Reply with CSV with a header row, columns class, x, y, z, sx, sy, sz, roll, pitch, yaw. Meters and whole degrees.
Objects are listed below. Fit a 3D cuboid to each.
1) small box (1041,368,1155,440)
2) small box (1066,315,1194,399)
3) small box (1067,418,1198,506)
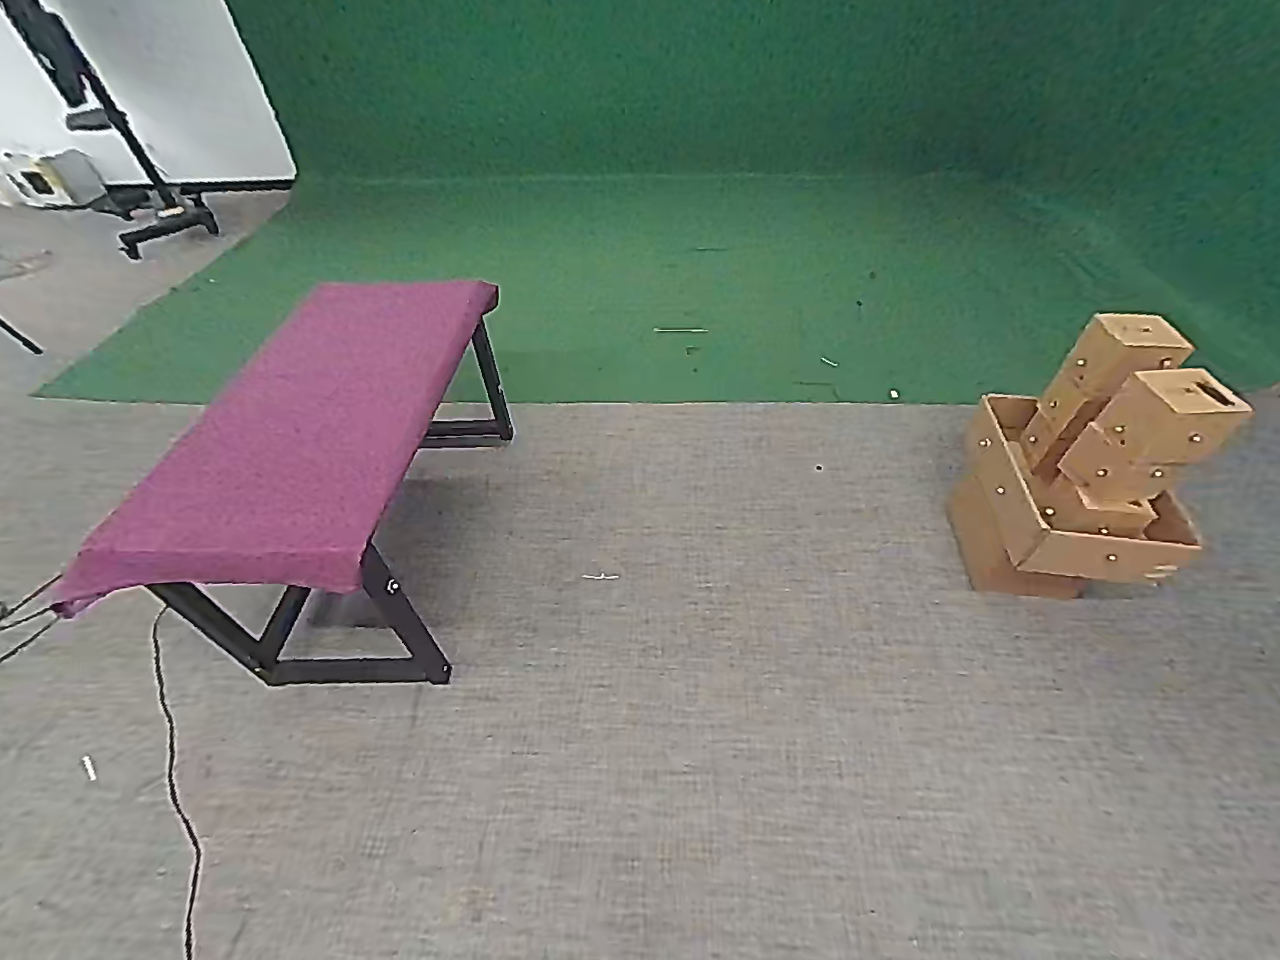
class,x,y,z,sx,sy,sz,roll,pitch,yaw
small box,1.373,-0.229,1.636,0.179,0.176,0.168,3,46,6
small box,1.360,-0.342,1.517,0.179,0.176,0.168,3,46,6
small box,1.307,-0.045,1.457,0.179,0.176,0.168,-7,46,-5
